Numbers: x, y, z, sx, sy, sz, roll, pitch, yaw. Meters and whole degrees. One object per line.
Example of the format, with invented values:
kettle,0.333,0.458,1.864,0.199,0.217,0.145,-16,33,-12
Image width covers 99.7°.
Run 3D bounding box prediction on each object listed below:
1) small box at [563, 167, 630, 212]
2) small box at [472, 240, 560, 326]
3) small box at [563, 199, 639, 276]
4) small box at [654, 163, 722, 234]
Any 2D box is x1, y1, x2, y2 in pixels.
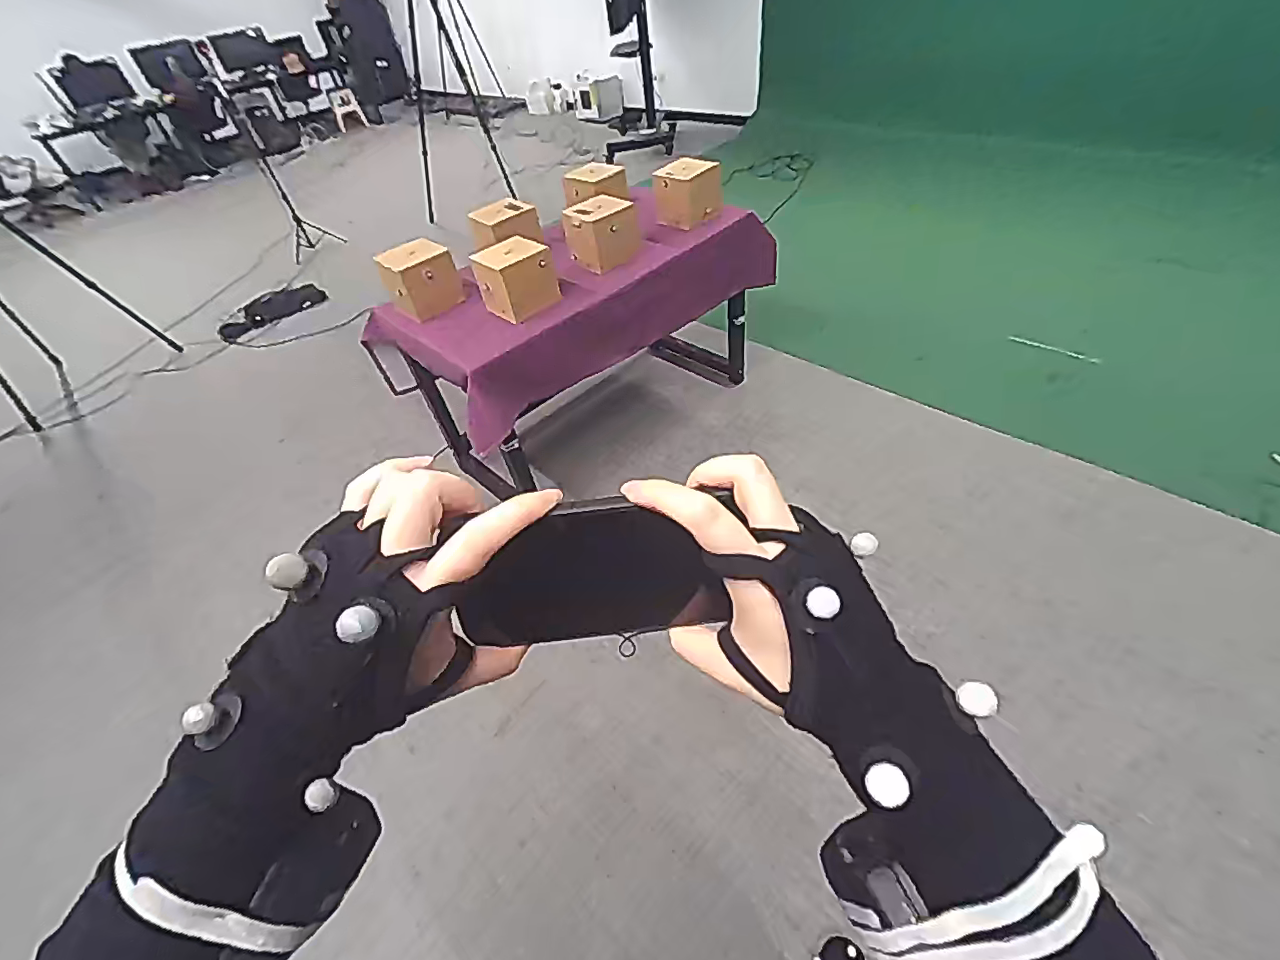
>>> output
small box,-0.156,-1.040,2.009,0.179,0.176,0.168,30,58,32
small box,-0.358,-0.578,1.592,0.179,0.176,0.168,-37,50,-26
small box,-0.119,-0.783,1.752,0.179,0.176,0.168,-35,50,-24
small box,0.171,-0.993,1.907,0.168,0.176,0.179,31,58,34
